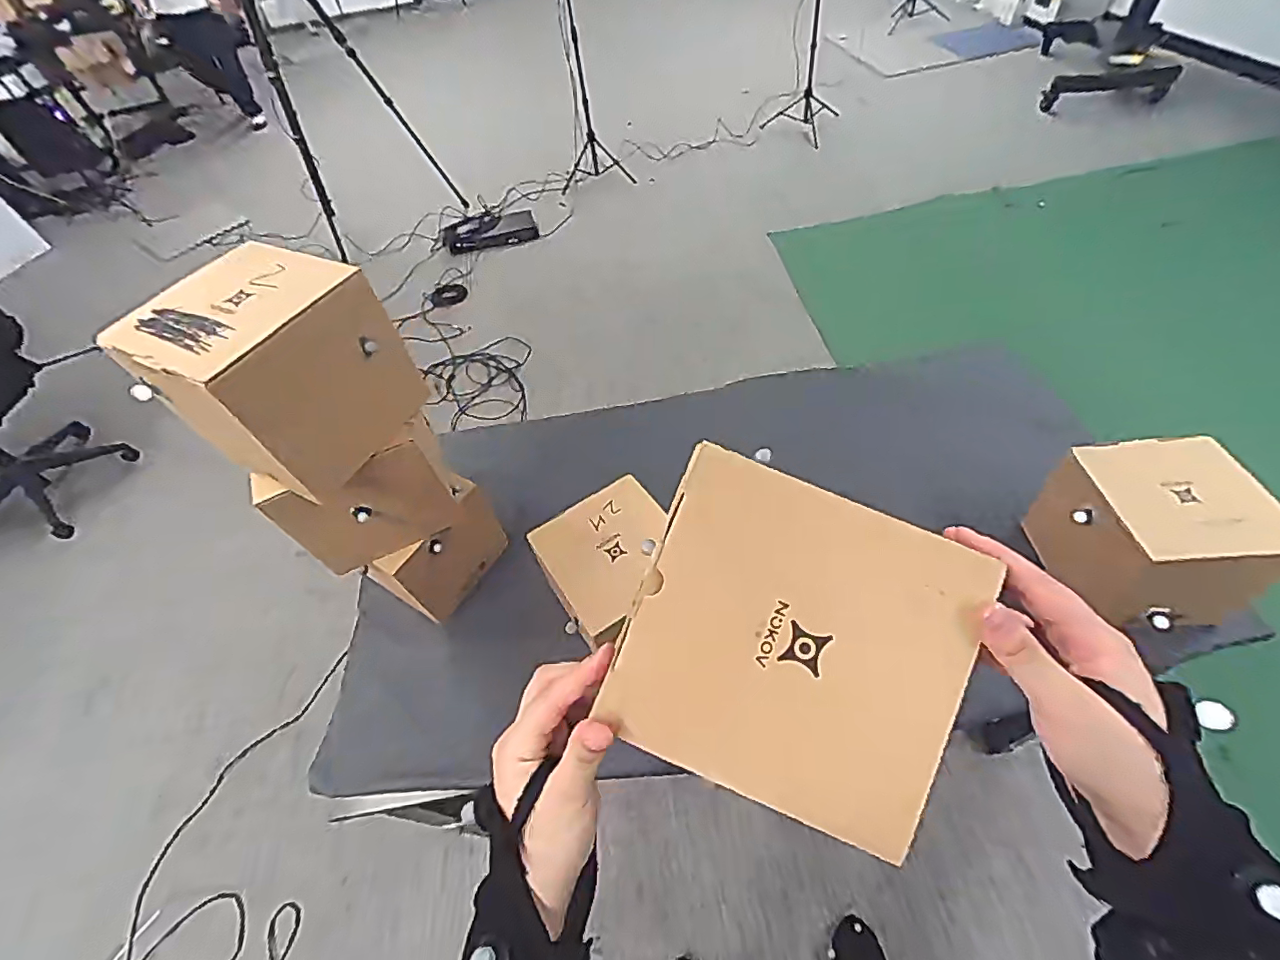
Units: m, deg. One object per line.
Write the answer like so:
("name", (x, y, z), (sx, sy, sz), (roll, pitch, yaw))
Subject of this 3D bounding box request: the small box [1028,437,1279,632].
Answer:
("small box", (0.635, 0.071, 0.678), (0.168, 0.176, 0.179), (-5, 49, 7))

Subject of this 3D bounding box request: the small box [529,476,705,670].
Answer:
("small box", (-0.023, 0.134, 0.737), (0.168, 0.176, 0.179), (-30, 54, -15))

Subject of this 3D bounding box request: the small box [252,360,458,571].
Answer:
("small box", (-0.353, -0.015, 0.694), (0.179, 0.176, 0.168), (-26, 54, -10))

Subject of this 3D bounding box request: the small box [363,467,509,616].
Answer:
("small box", (-0.334, 0.081, 0.827), (0.179, 0.176, 0.168), (23, 60, 23))
